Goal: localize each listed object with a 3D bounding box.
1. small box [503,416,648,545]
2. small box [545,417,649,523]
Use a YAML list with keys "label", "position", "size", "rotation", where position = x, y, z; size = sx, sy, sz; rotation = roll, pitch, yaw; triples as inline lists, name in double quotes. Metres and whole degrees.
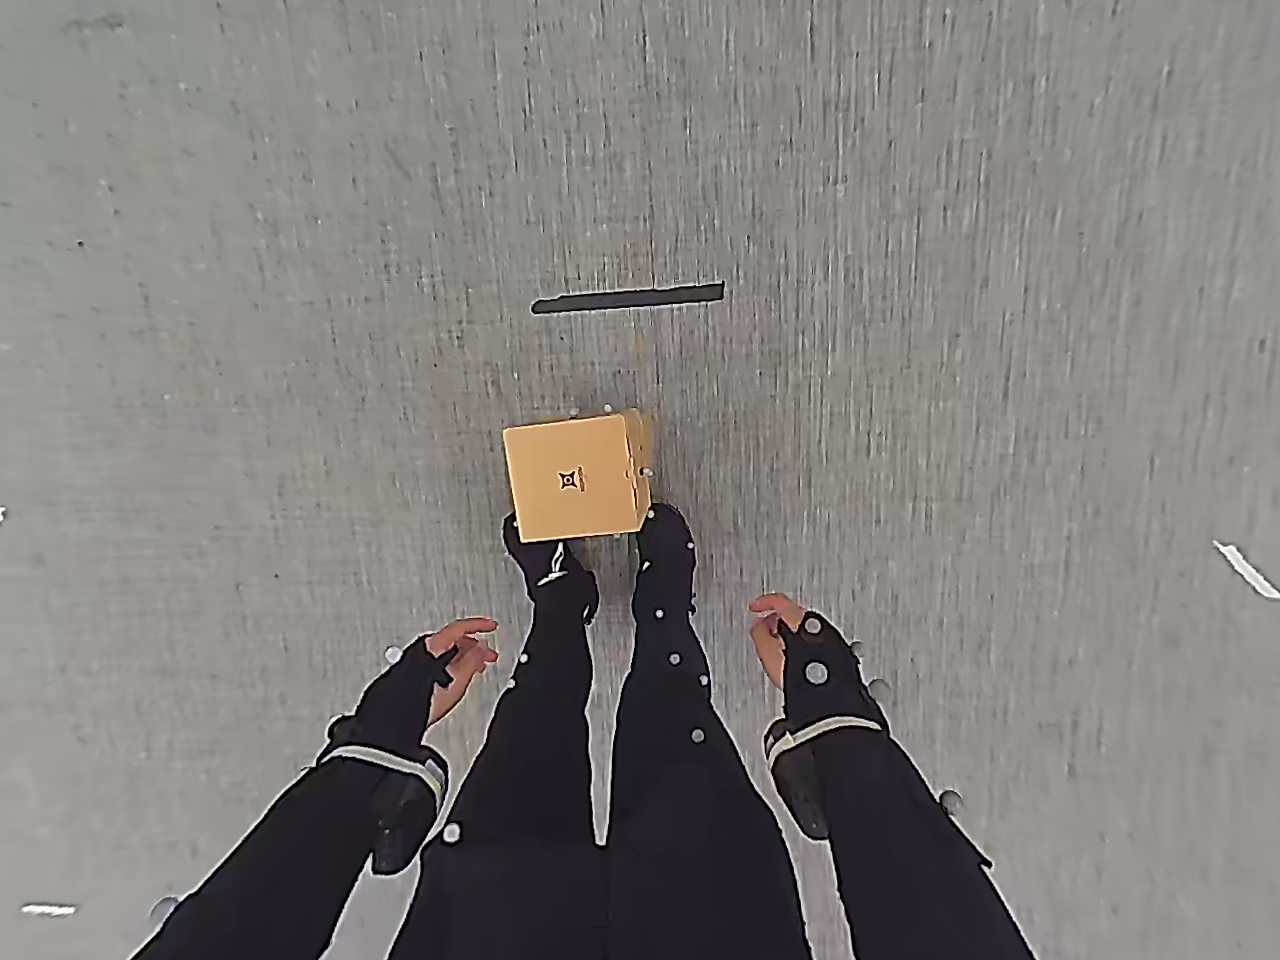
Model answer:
- label: "small box"
  position: [-0.088, -0.006, 0.828]
  size: [0.179, 0.176, 0.168]
  rotation: [-7, 98, 6]
- label: "small box"
  position: [-0.070, -0.023, 0.989]
  size: [0.168, 0.176, 0.179]
  rotation: [0, 99, 5]
